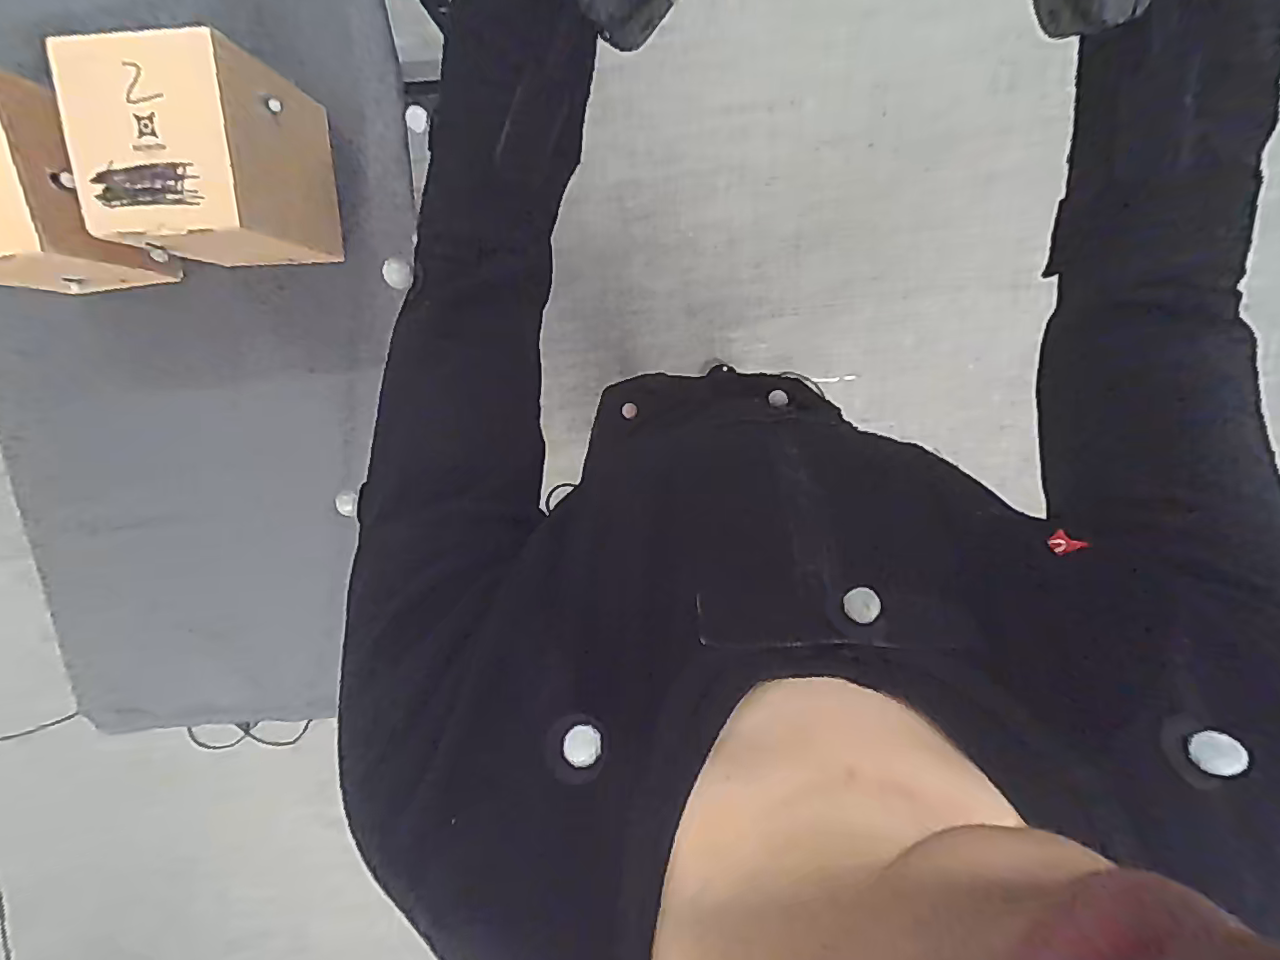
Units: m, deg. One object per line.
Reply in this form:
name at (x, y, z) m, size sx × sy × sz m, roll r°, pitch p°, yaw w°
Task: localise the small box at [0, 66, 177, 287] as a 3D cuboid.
small box at (-0.689, -0.327, 0.611) m, size 0.168 × 0.176 × 0.179 m, roll -6°, pitch 104°, yaw 4°
